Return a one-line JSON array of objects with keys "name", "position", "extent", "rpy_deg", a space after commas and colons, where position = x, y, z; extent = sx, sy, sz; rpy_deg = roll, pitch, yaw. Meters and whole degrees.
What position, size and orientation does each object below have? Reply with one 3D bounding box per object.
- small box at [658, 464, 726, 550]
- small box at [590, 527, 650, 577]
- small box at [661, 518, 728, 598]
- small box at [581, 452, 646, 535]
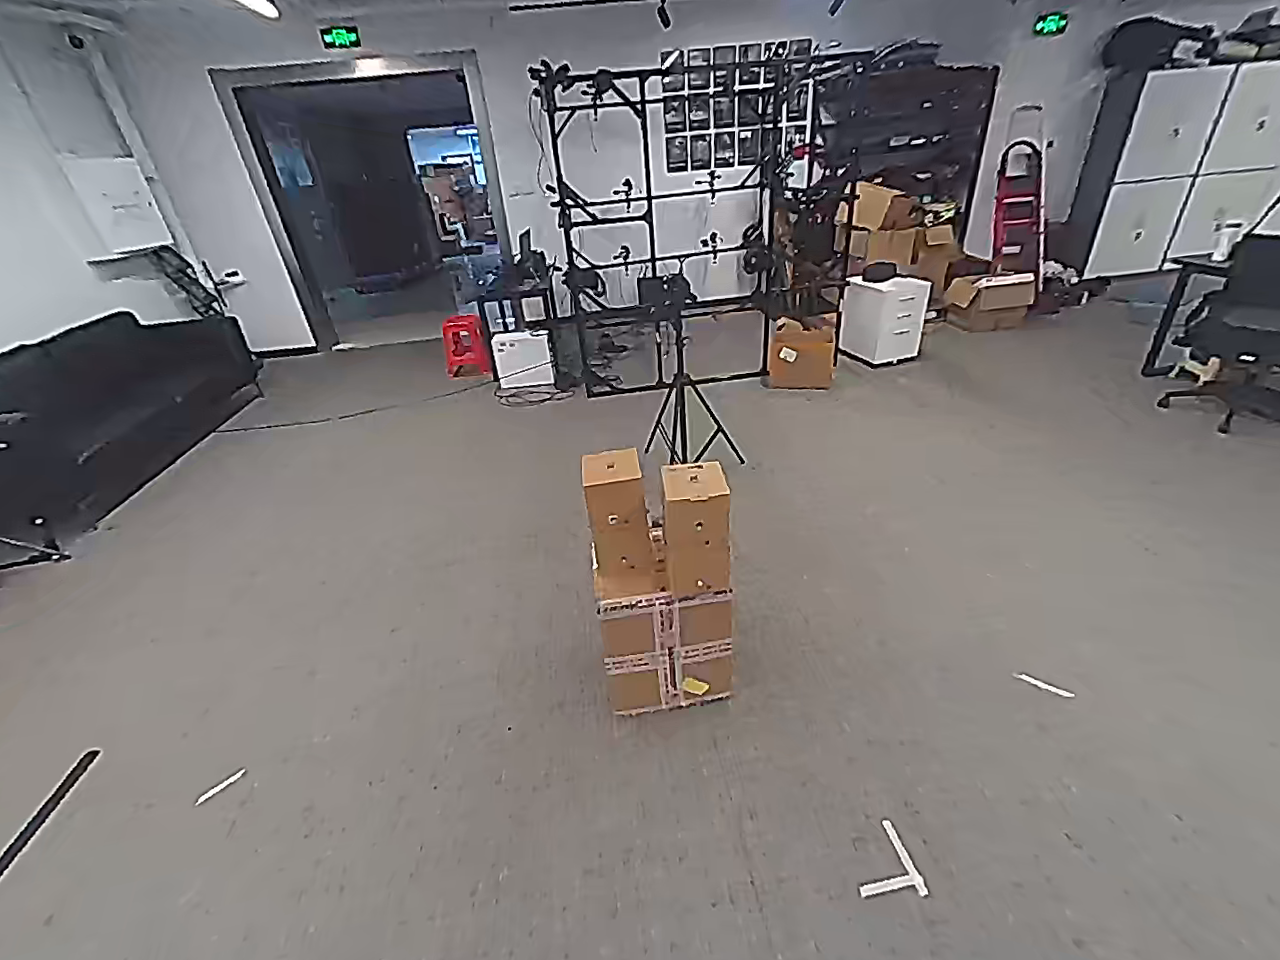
[{"name": "small box", "position": [0.142, 0.079, 1.486], "extent": [0.168, 0.176, 0.179], "rpy_deg": [-5, 33, -1]}, {"name": "small box", "position": [-0.065, 0.175, 1.671], "extent": [0.168, 0.176, 0.179], "rpy_deg": [-9, 32, -2]}, {"name": "small box", "position": [0.153, 0.217, 1.572], "extent": [0.168, 0.176, 0.179], "rpy_deg": [-7, 33, -4]}, {"name": "small box", "position": [-0.080, 0.039, 1.585], "extent": [0.168, 0.176, 0.179], "rpy_deg": [-9, 32, -2]}]
